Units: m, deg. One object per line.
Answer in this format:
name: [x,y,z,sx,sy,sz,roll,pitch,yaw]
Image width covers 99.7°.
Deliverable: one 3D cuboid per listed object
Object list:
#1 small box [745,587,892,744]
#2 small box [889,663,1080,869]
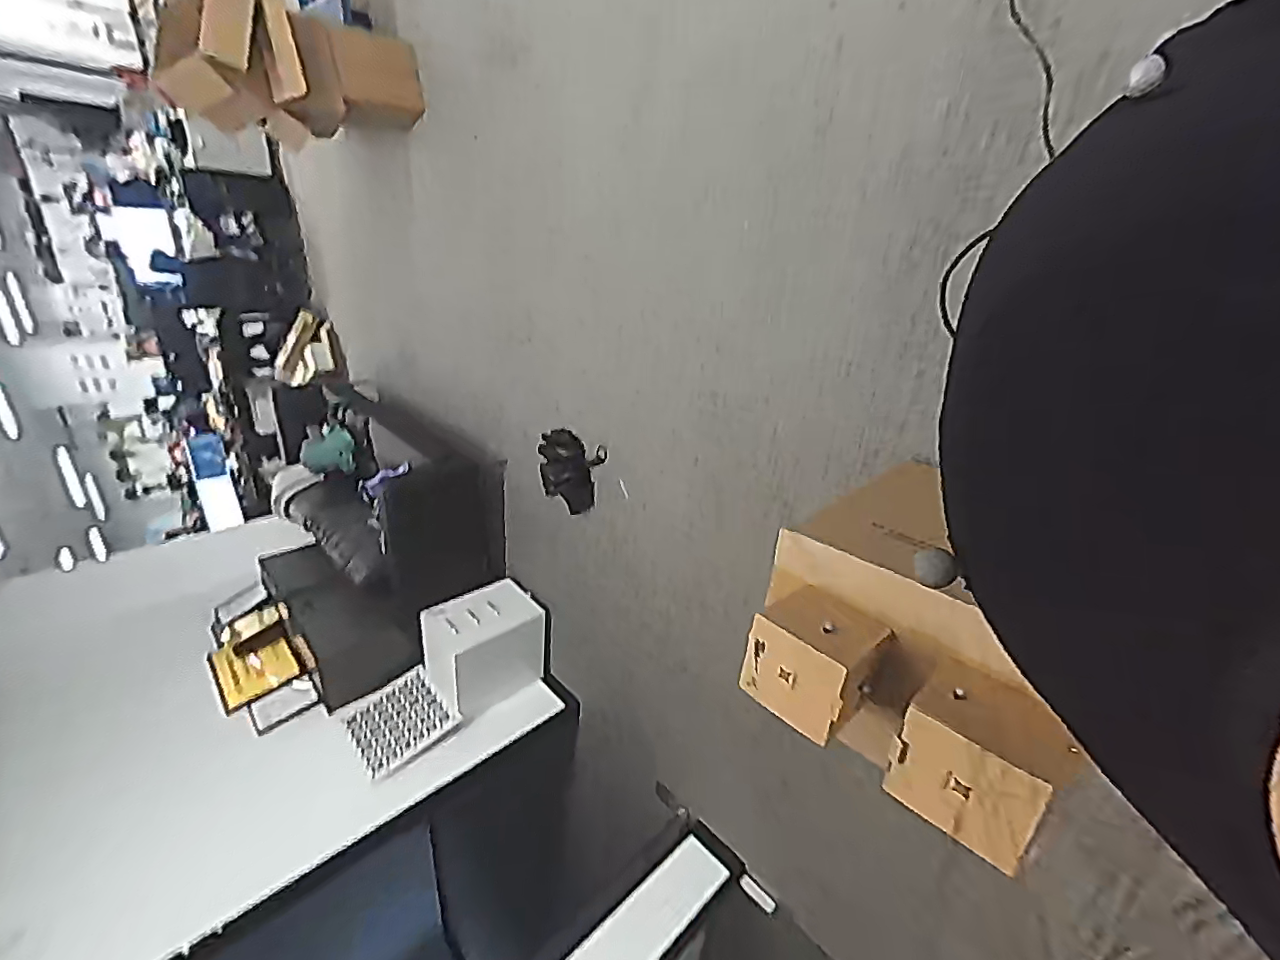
small box: [0.315,0.312,0.954,0.179,0.176,0.168,25,118,39]
small box: [0.499,0.395,0.787,0.179,0.176,0.168,22,117,40]
